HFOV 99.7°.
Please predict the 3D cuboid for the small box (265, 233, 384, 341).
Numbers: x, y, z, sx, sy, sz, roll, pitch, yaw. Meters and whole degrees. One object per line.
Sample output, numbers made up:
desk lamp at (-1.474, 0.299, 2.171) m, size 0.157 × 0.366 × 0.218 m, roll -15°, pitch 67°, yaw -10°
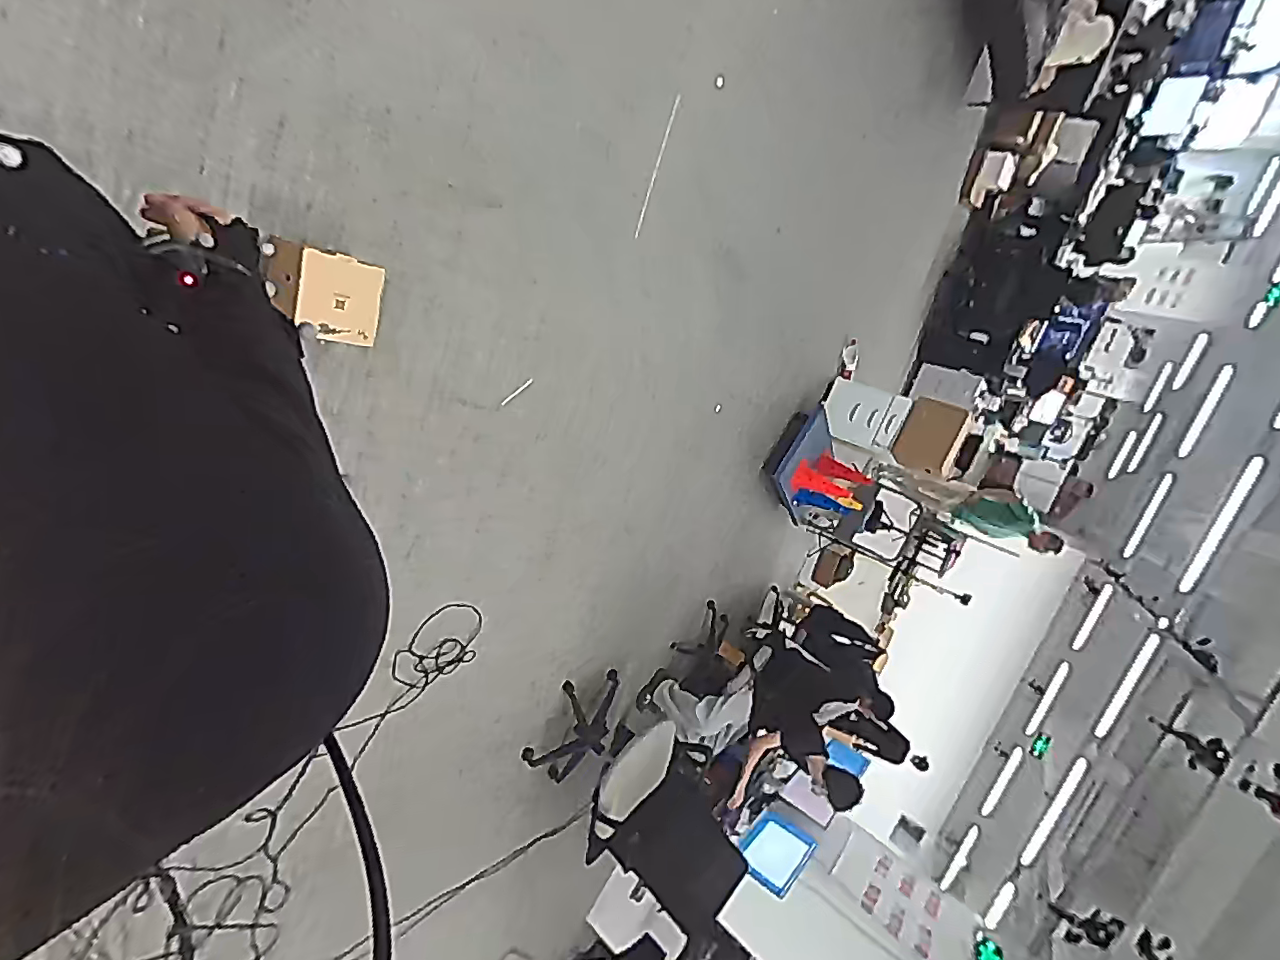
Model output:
small box at (-0.685, -0.417, 1.171) m, size 0.168 × 0.176 × 0.179 m, roll -4°, pitch 114°, yaw -53°
